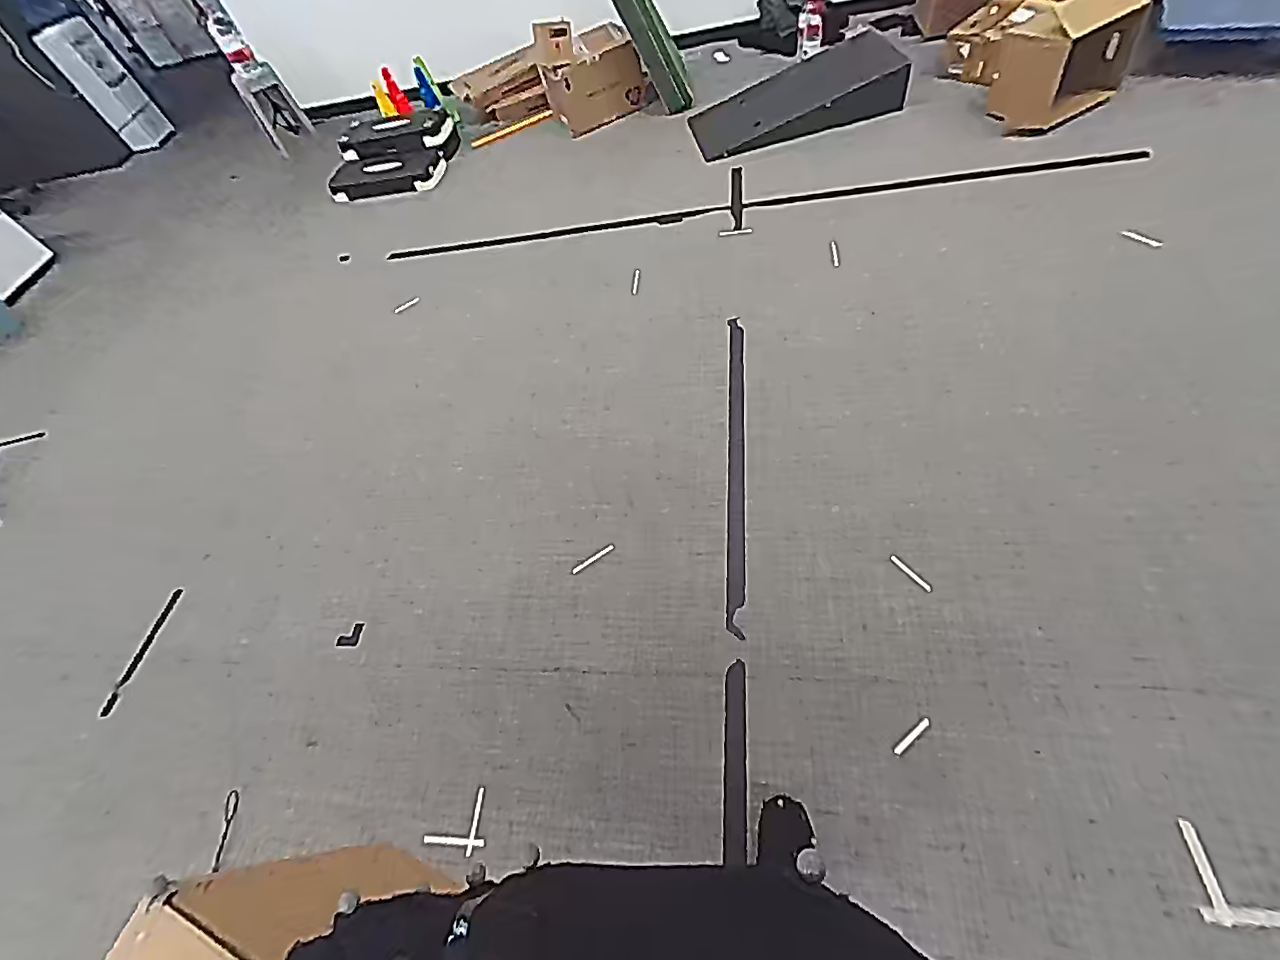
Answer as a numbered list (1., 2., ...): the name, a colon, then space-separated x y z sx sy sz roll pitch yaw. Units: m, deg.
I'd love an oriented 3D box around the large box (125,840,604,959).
1. large box: -0.265 0.578 0.427 0.320 0.320 0.408 14 63 17
